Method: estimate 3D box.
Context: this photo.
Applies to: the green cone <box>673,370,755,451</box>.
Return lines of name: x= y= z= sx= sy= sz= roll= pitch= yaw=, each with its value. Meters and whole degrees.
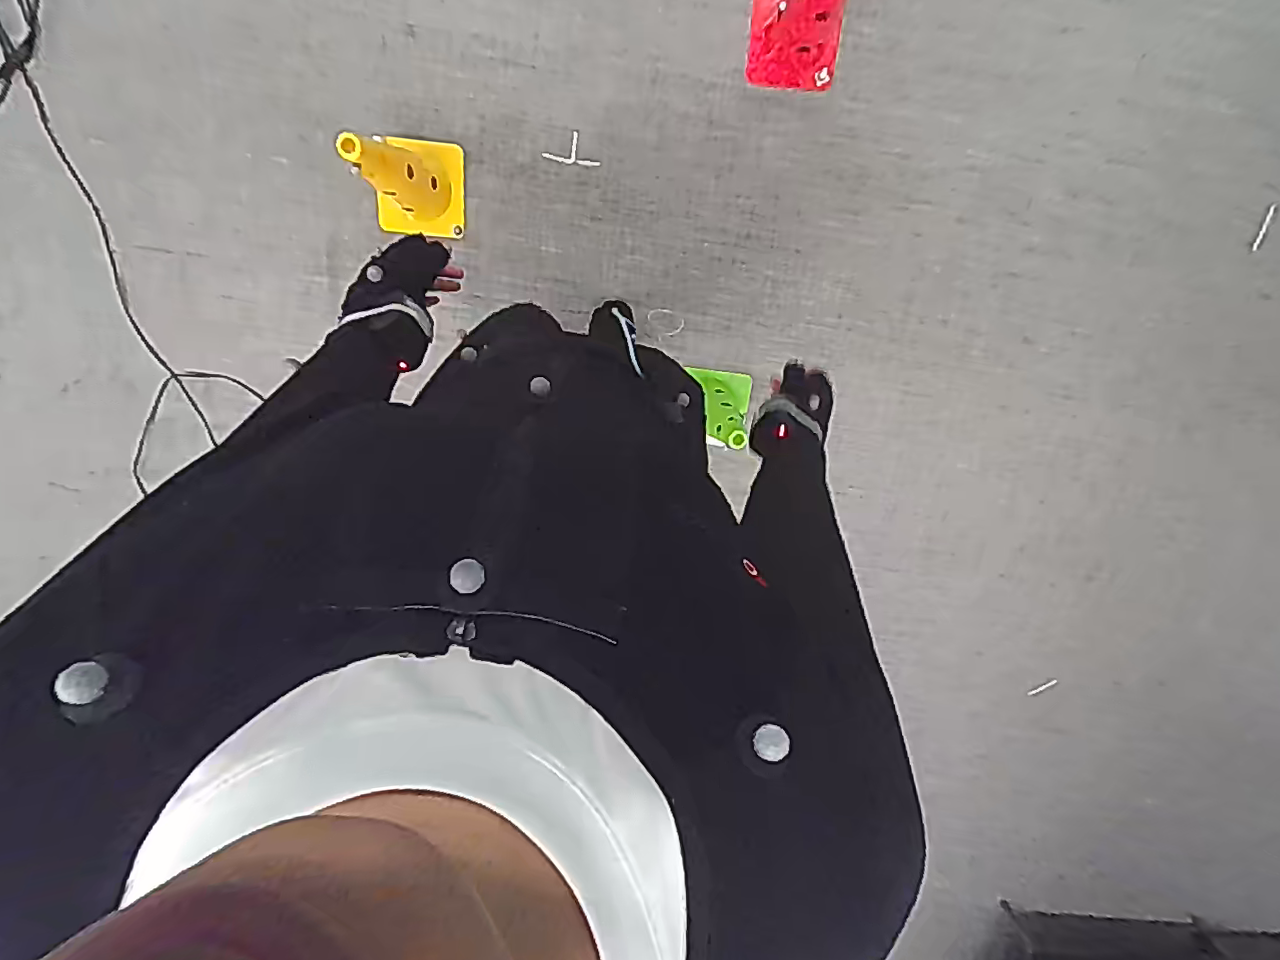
green cone: x=0.199 y=-0.135 z=1.285 sx=0.202 sy=0.368 sz=0.200 roll=6 pitch=107 yaw=-3

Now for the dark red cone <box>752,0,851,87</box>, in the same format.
dark red cone: x=0.353 y=-0.923 z=1.014 sx=0.202 sy=0.394 sz=0.201 roll=2 pitch=106 yaw=-3
